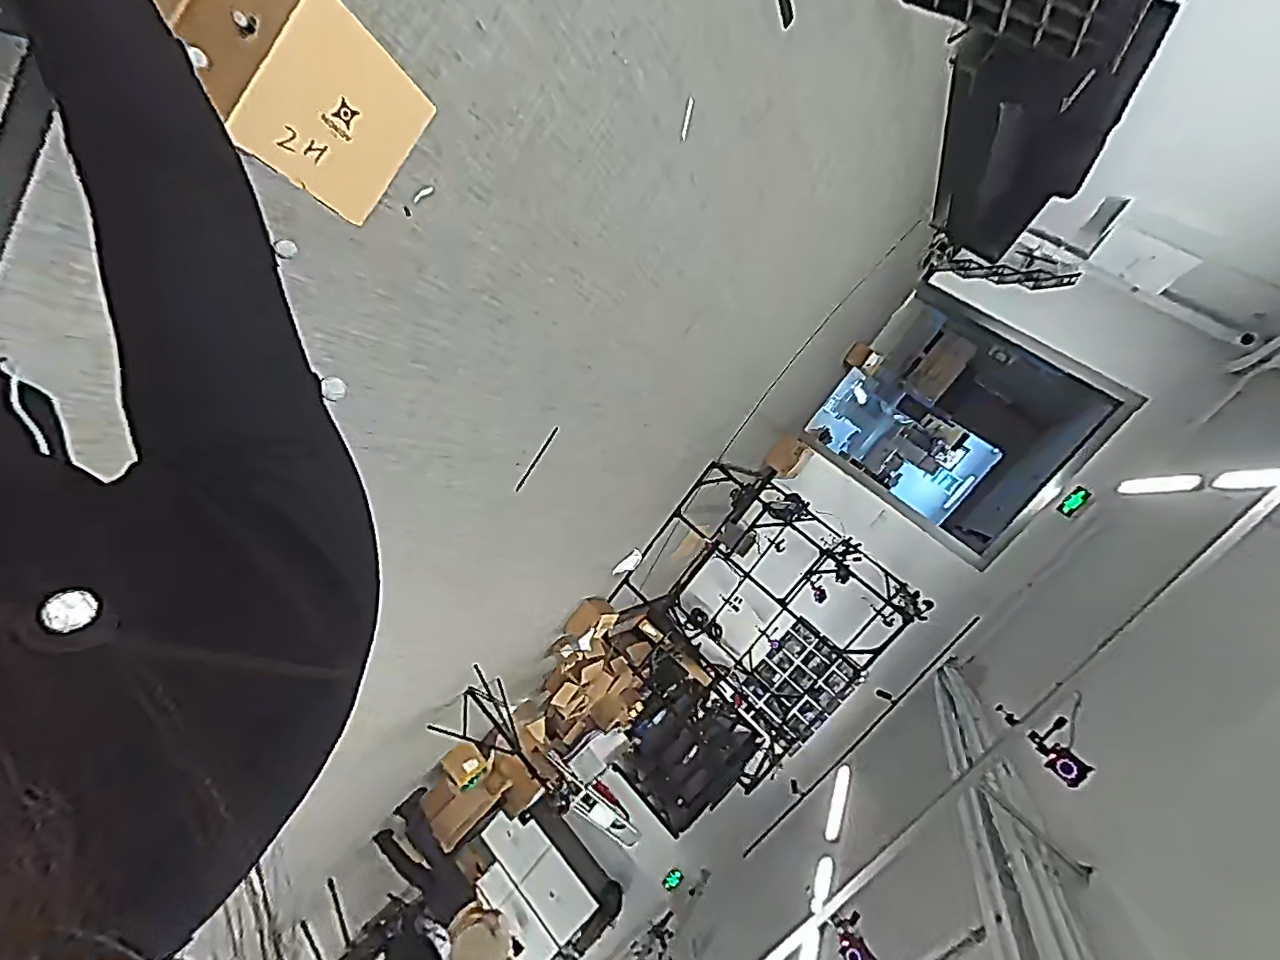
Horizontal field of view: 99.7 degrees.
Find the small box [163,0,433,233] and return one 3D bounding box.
[{"bbox_3d":[-0.384,-0.431,0.614,0.179,0.176,0.168,-52,160,6],"label":"small box"}]
